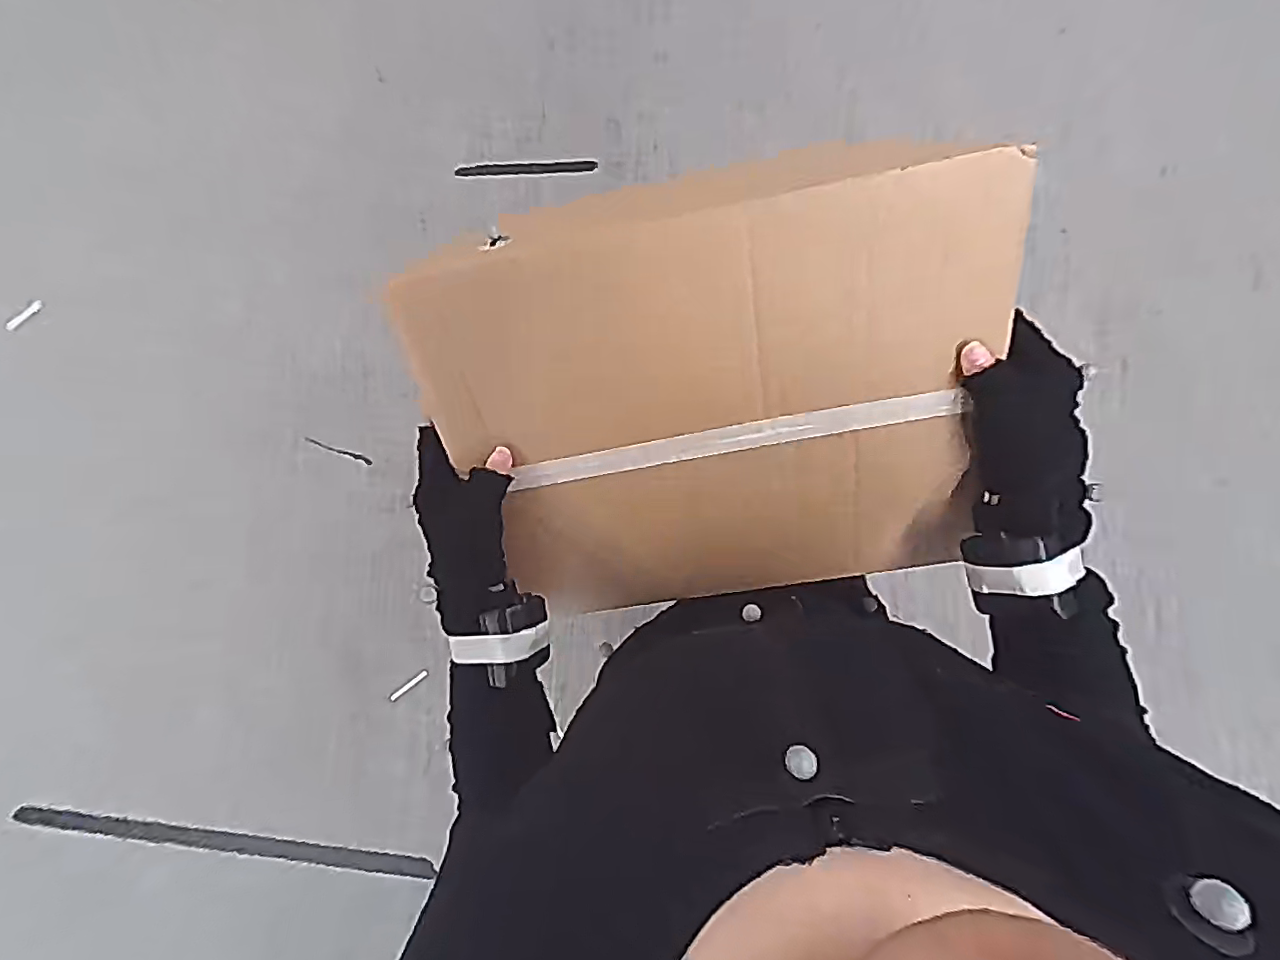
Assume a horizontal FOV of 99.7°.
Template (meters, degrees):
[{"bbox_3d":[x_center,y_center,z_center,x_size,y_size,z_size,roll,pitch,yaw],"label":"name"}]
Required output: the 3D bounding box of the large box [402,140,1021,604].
[{"bbox_3d":[0.060,-0.118,0.542,0.408,0.320,0.320,-9,122,6],"label":"large box"}]
